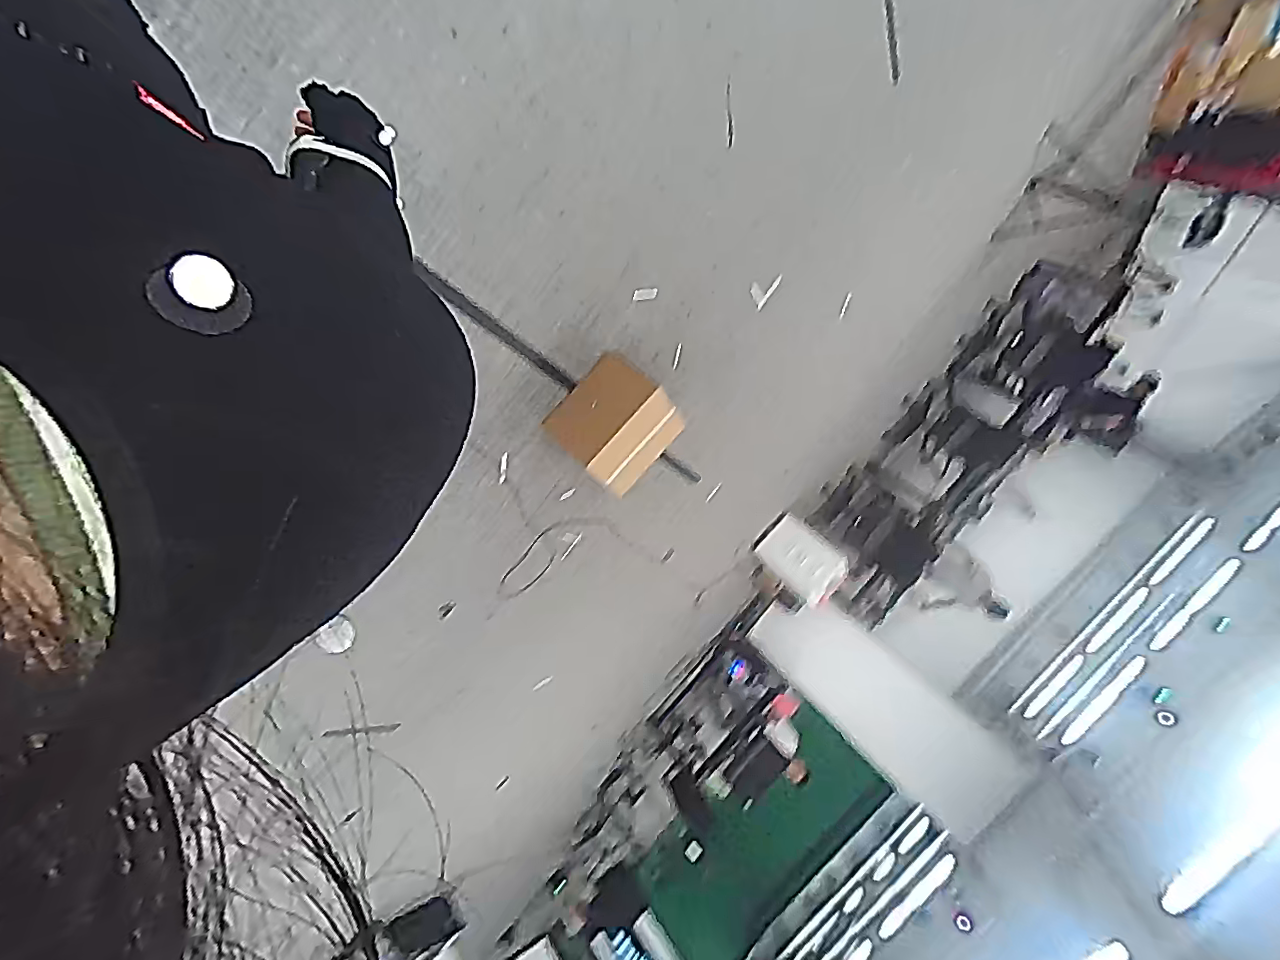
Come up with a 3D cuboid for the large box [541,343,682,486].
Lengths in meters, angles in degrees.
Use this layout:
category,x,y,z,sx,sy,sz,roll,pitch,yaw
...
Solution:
category,x,y,z,sx,sy,sz,roll,pitch,yaw
large box,-0.110,-0.257,2.155,0.408,0.320,0.320,-48,148,-1
